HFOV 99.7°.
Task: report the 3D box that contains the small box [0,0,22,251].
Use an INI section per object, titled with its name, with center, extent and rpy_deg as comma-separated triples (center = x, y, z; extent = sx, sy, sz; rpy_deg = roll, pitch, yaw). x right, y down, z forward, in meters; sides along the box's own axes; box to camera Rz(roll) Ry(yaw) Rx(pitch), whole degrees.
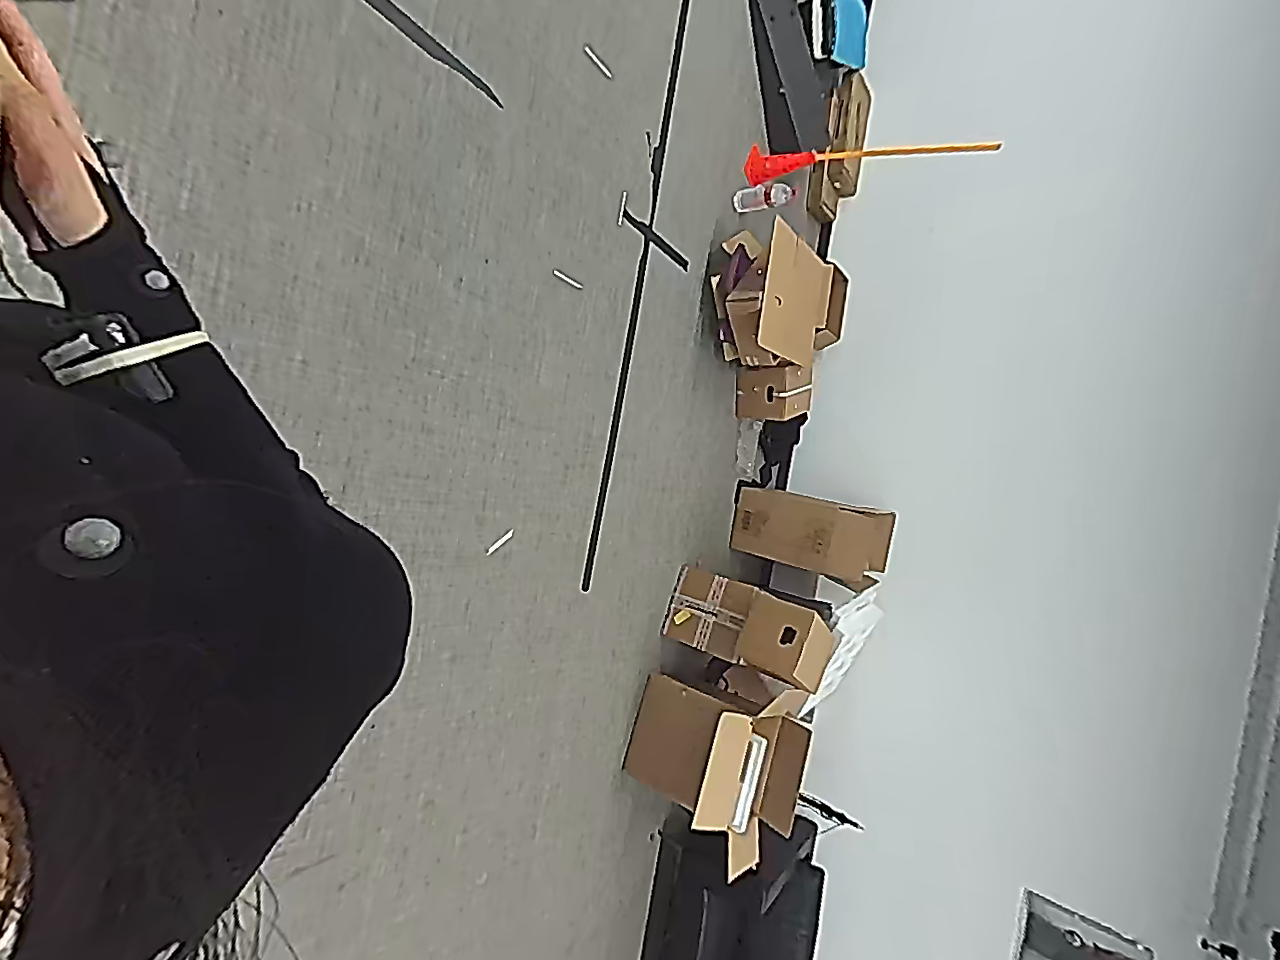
[small box]
center = -0.409, -0.224, 0.230
extent = 0.168, 0.176, 0.179
rpy_deg = -13, 86, -52
